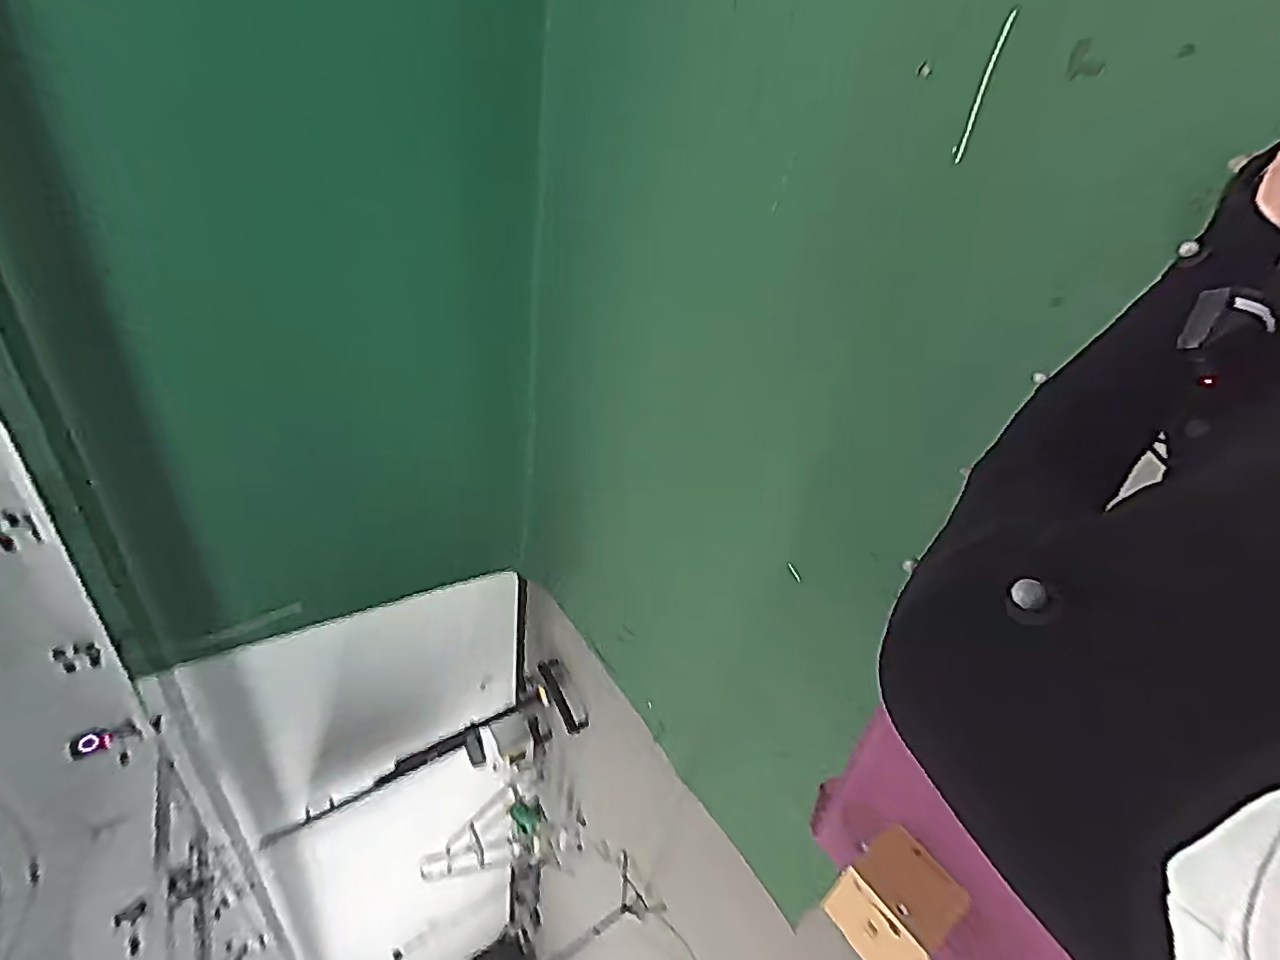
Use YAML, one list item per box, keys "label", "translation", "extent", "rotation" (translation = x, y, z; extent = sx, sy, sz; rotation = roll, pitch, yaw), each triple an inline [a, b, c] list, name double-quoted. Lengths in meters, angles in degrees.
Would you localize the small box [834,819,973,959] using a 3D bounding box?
- label: "small box"
  translation: [0.531, 0.839, 1.089]
  extent: [0.168, 0.176, 0.179]
  rotation: [38, 131, 40]
